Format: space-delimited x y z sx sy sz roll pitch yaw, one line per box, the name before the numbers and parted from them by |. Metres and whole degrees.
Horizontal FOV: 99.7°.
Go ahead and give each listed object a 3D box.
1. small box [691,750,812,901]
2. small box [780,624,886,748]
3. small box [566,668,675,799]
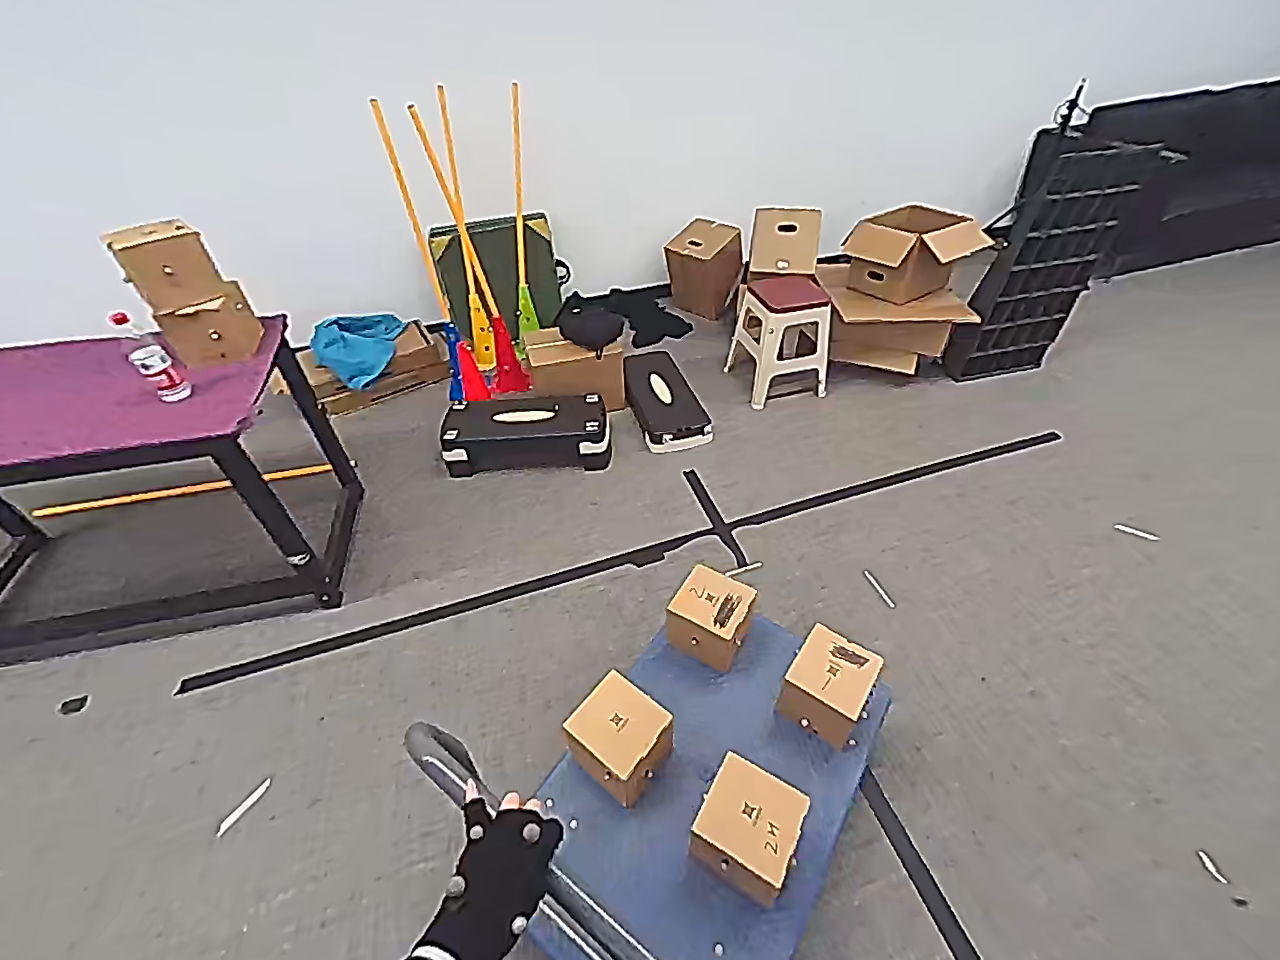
small box | 0.211 0.679 1.060 0.179 0.176 0.168 23 49 25
small box | 0.442 0.480 1.261 0.168 0.176 0.179 27 52 28
small box | -0.040 0.564 1.196 0.179 0.176 0.168 29 51 28
